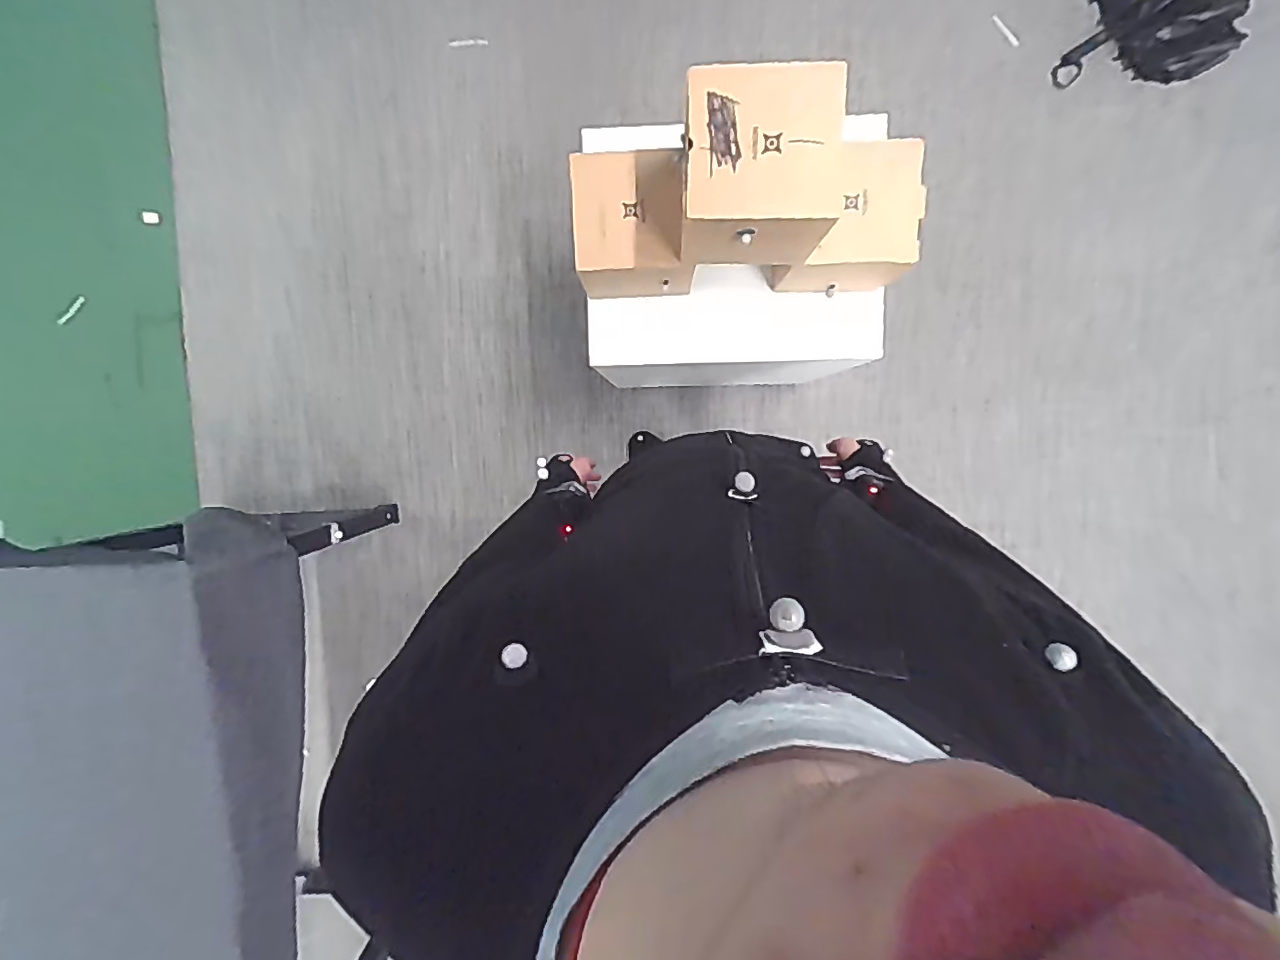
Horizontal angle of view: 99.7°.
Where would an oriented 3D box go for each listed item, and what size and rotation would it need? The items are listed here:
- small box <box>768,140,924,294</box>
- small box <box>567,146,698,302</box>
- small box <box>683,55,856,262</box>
[{"bbox_3d":[0.302,-0.388,0.823,0.179,0.176,0.168,-1,95,2],"label":"small box"},{"bbox_3d":[-0.011,-0.378,0.825,0.179,0.176,0.168,-4,94,1],"label":"small box"},{"bbox_3d":[0.144,-0.375,0.660,0.179,0.176,0.168,0,95,0],"label":"small box"}]
